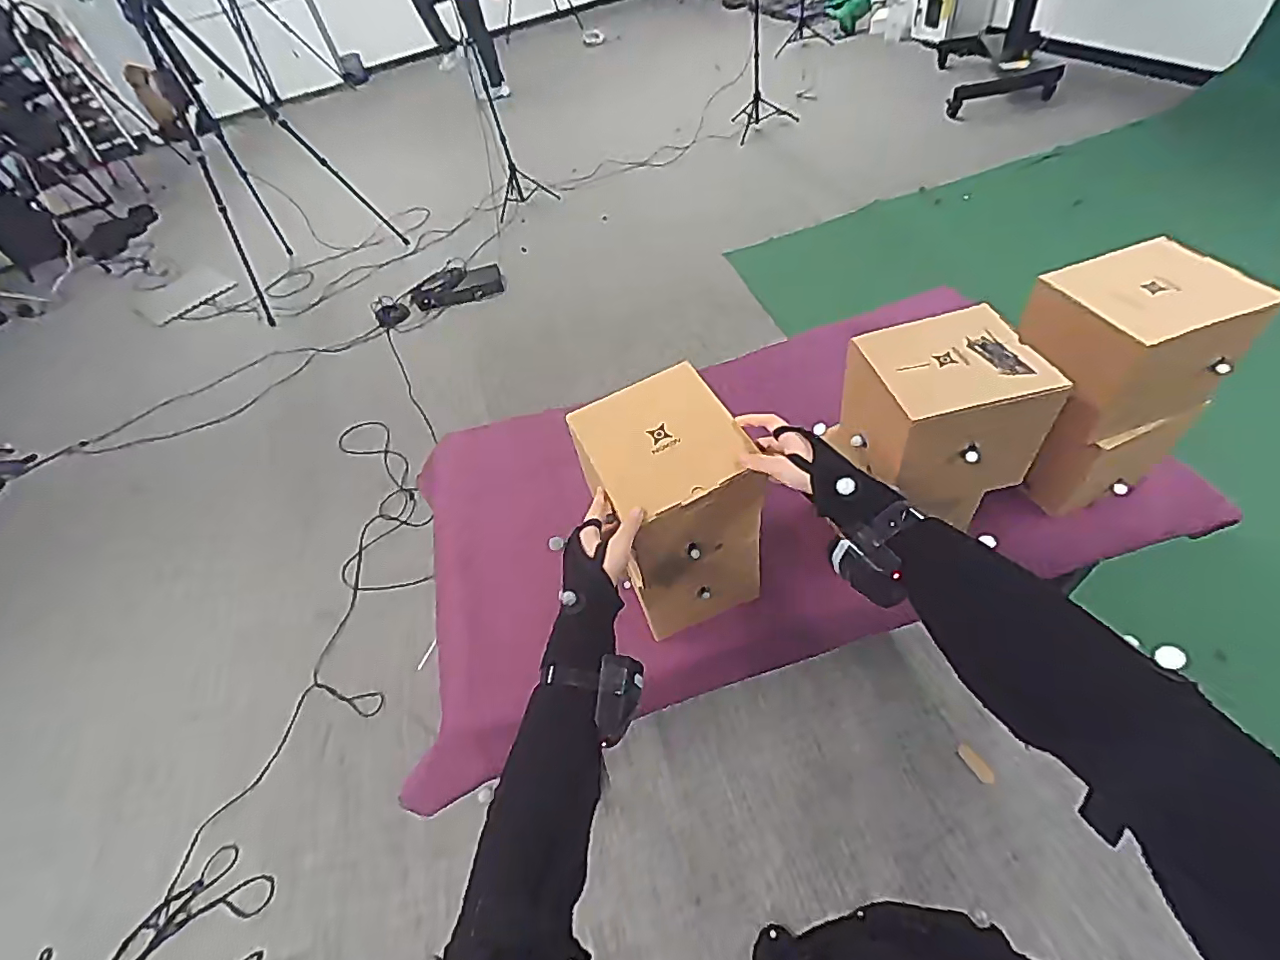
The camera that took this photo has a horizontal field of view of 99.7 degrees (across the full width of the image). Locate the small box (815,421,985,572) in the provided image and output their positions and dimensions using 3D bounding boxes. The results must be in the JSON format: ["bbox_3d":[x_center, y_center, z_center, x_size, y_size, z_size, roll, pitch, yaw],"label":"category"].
[{"bbox_3d":[0.384,0.007,0.823,0.168,0.176,0.179,-24,49,-6],"label":"small box"}]

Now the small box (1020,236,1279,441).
[{"bbox_3d":[0.627,-0.179,0.702,0.179,0.176,0.168,-18,49,-1],"label":"small box"}]

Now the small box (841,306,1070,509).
[{"bbox_3d":[0.375,-0.087,0.685,0.179,0.176,0.168,-13,48,3],"label":"small box"}]

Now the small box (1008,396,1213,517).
[{"bbox_3d":[0.671,-0.075,0.821,0.179,0.176,0.168,-22,49,-5],"label":"small box"}]
